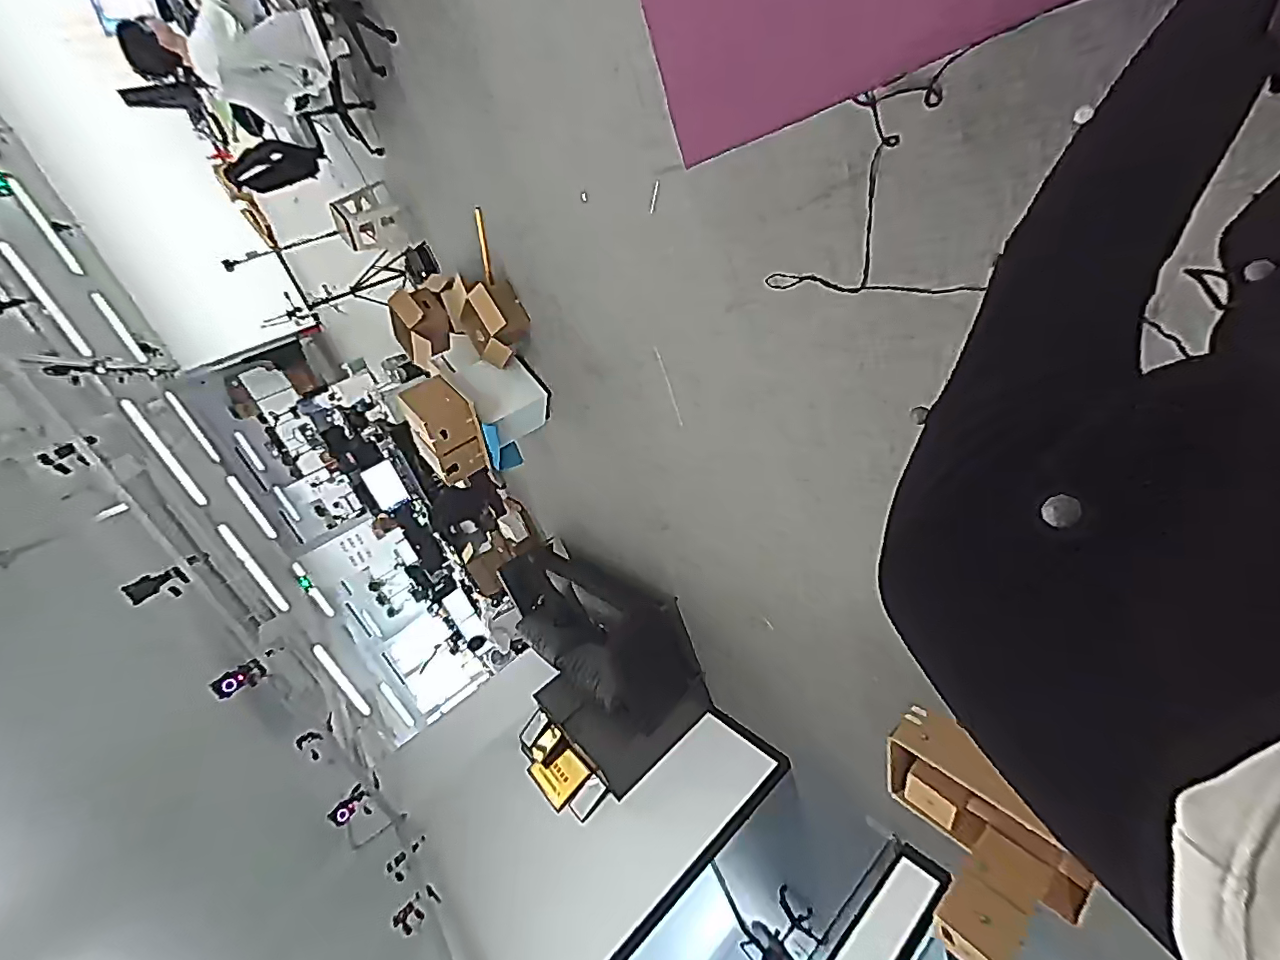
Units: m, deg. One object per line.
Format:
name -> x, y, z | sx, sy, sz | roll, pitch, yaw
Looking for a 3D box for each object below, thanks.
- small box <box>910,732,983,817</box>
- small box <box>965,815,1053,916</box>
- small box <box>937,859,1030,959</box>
small box -> 1.098, 1.047, 1.934 | 0.168, 0.176, 0.179 | 29, 143, 45
small box -> 1.129, 1.183, 1.661 | 0.179, 0.176, 0.168 | 27, 141, 48
small box -> 1.004, 1.262, 1.588 | 0.179, 0.176, 0.168 | 24, 139, 49
